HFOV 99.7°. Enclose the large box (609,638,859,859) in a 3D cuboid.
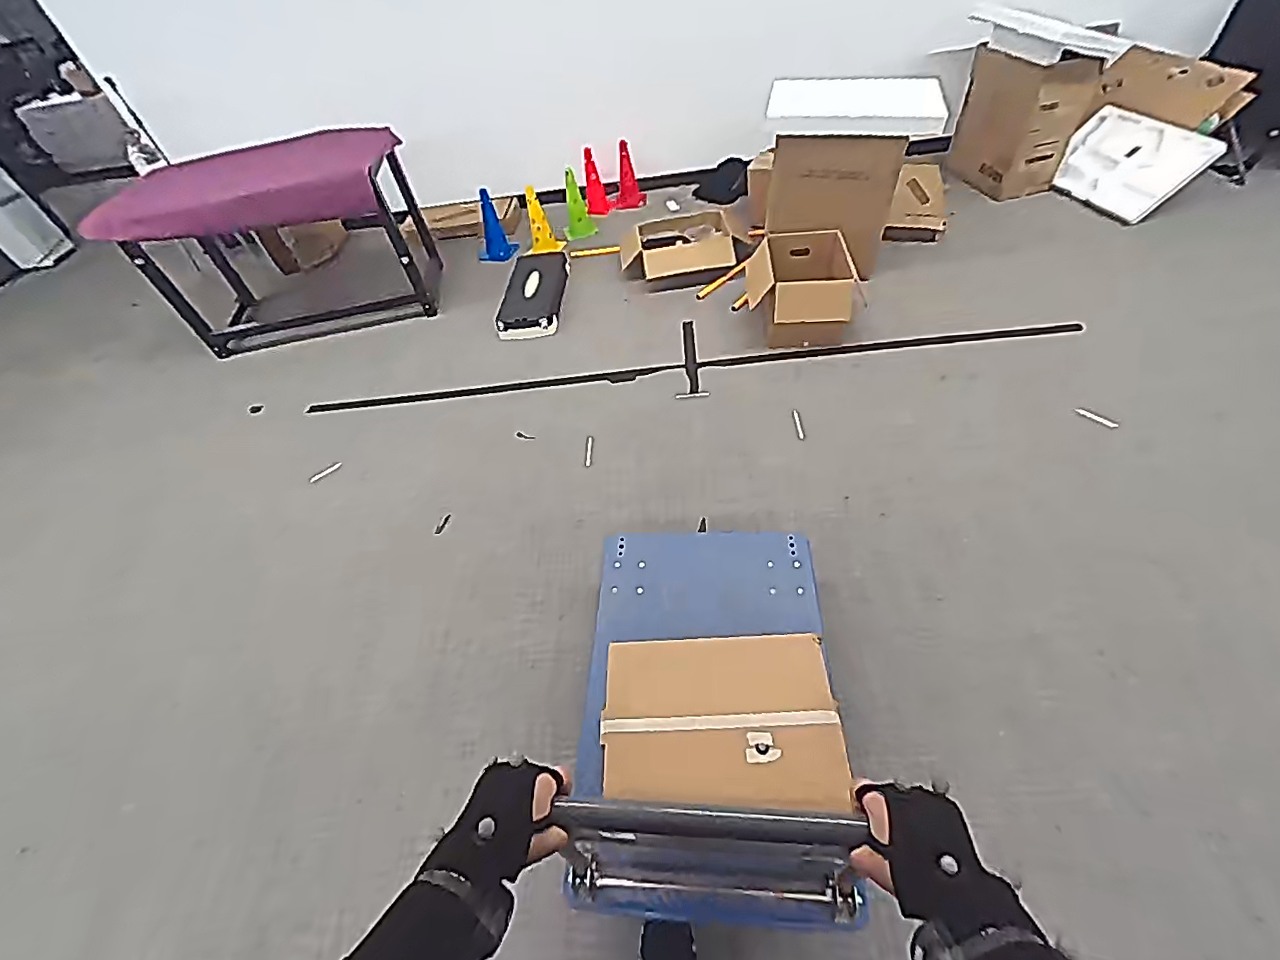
[{"bbox_3d":[0.156,0.531,1.060,0.408,0.320,0.320,-4,49,4],"label":"large box"}]
